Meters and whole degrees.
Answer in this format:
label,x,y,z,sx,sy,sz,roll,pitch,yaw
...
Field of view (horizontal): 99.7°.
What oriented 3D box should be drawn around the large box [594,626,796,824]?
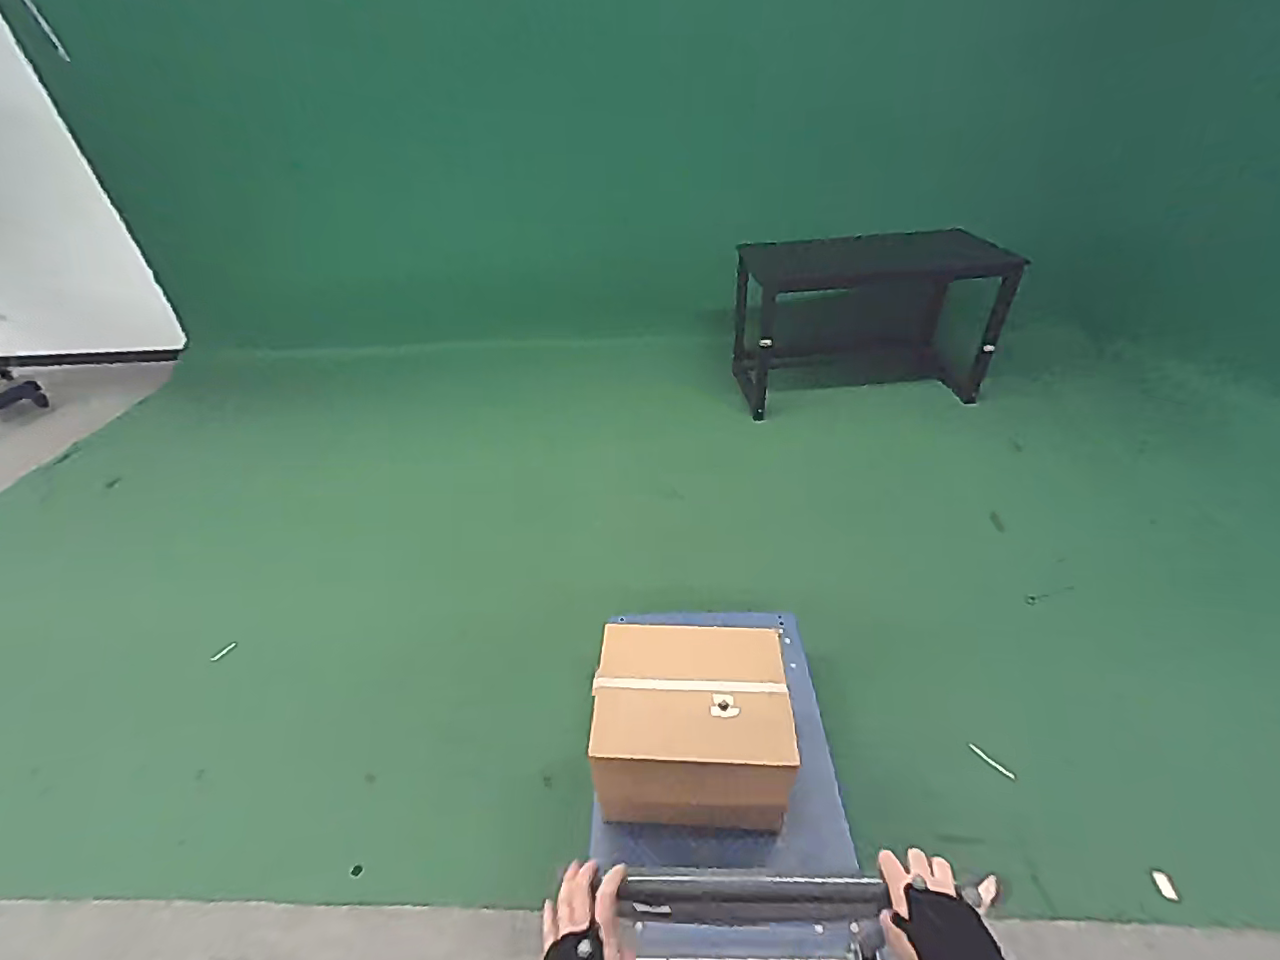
label,x,y,z,sx,sy,sz,roll,pitch,yaw
large box,0.114,0.565,1.257,0.408,0.320,0.320,1,38,4
